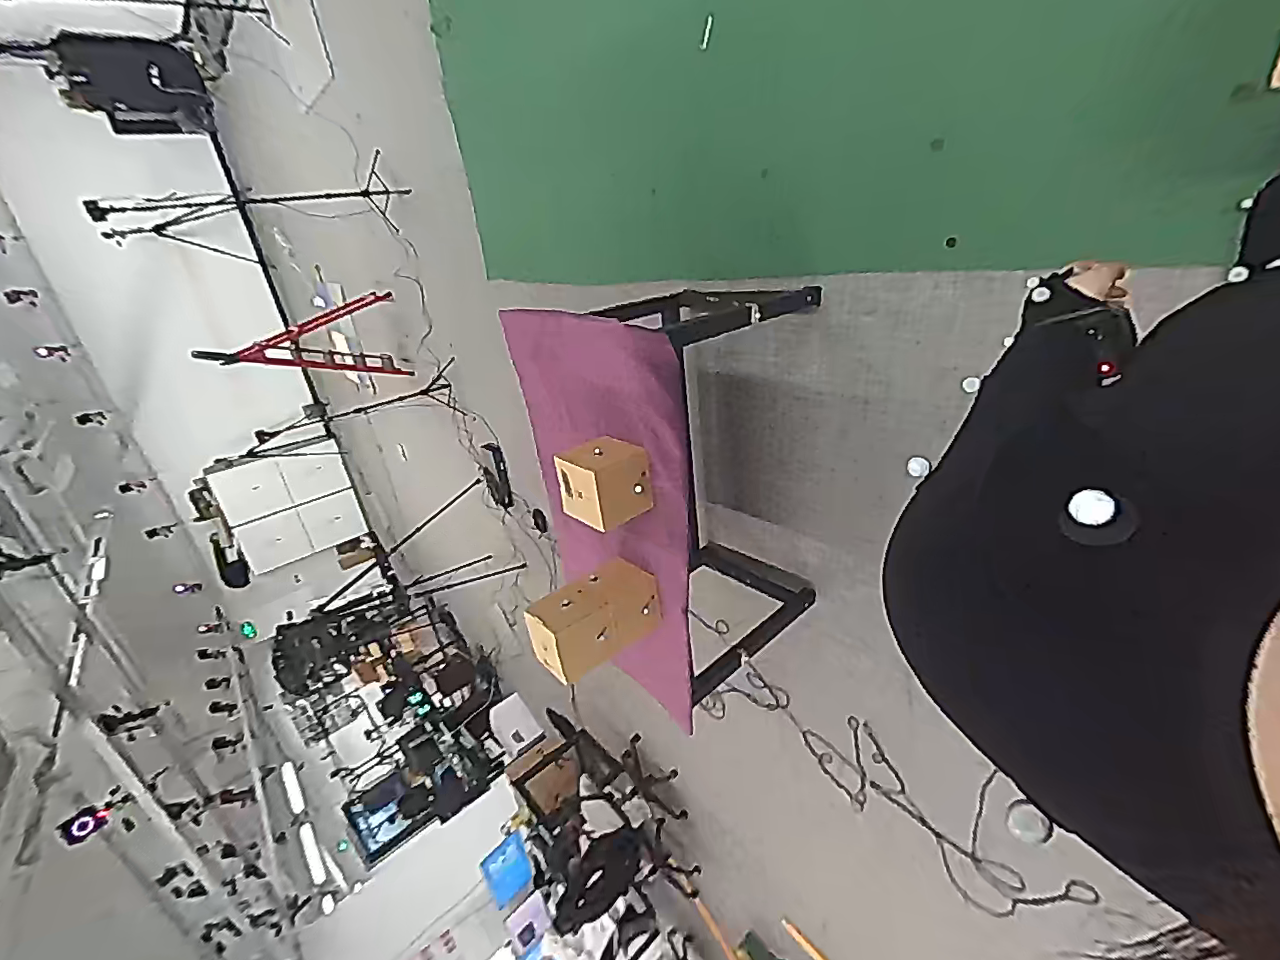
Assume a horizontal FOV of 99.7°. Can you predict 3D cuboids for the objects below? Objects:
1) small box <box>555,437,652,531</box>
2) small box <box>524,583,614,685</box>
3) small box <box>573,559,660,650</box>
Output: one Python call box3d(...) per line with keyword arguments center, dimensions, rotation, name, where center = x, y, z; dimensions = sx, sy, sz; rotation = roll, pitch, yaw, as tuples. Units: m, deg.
box3d(center=(-0.090, 0.001, 1.373), dimensions=(0.179, 0.176, 0.168), rotation=(21, 127, 46), name="small box")
box3d(center=(-0.189, 0.408, 1.469), dimensions=(0.168, 0.176, 0.179), rotation=(21, 126, 49), name="small box")
box3d(center=(-0.066, 0.349, 1.559), dimensions=(0.179, 0.176, 0.168), rotation=(21, 127, 48), name="small box")
